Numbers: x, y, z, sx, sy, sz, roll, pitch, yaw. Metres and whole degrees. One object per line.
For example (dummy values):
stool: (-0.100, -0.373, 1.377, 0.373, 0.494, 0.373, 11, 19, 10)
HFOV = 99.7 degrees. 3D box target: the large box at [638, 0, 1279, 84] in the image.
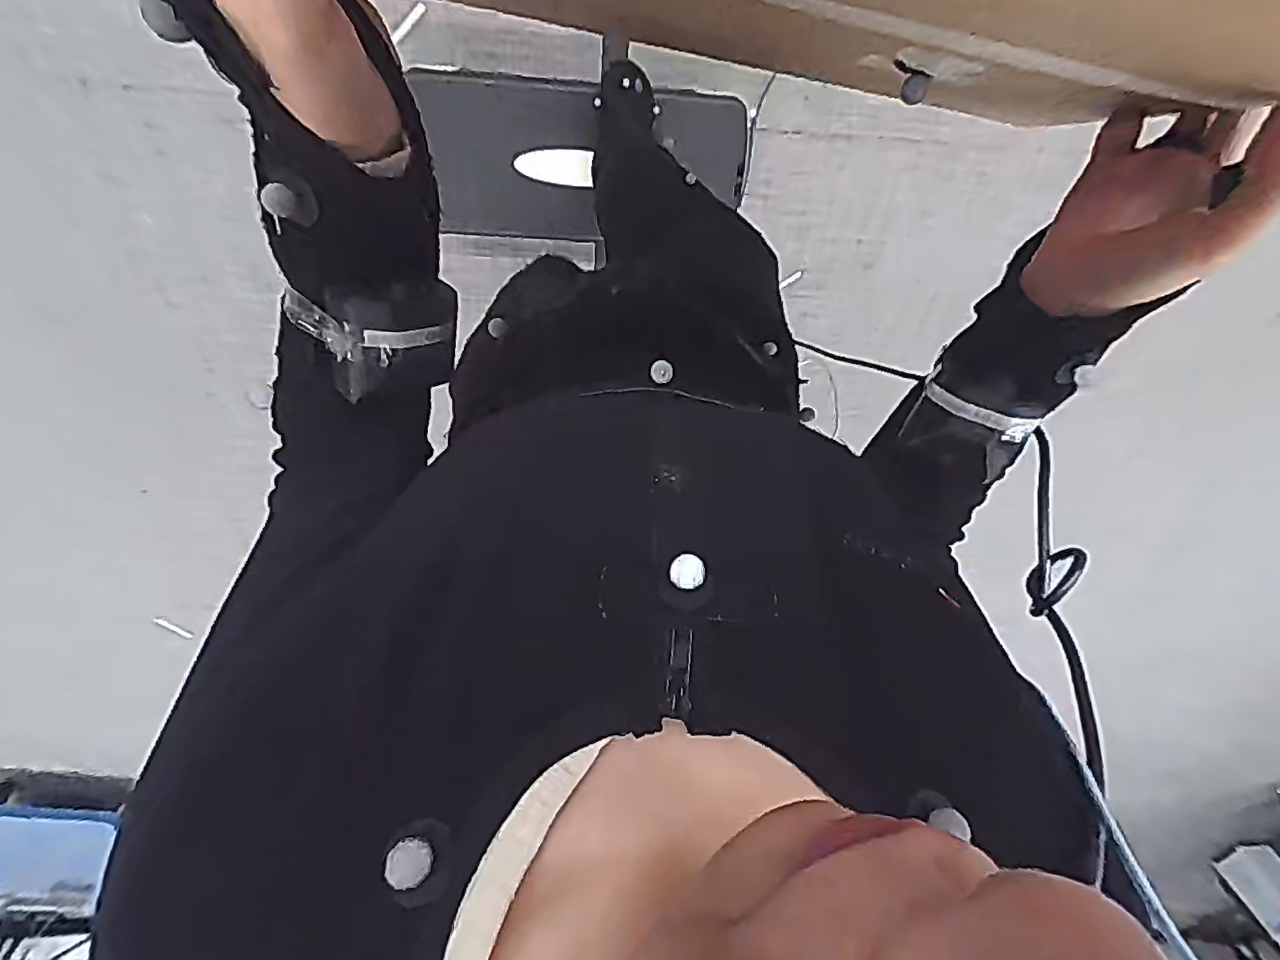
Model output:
large box: (0.095, -0.319, 0.111, 0.408, 0.320, 0.320, 4, 122, -9)
